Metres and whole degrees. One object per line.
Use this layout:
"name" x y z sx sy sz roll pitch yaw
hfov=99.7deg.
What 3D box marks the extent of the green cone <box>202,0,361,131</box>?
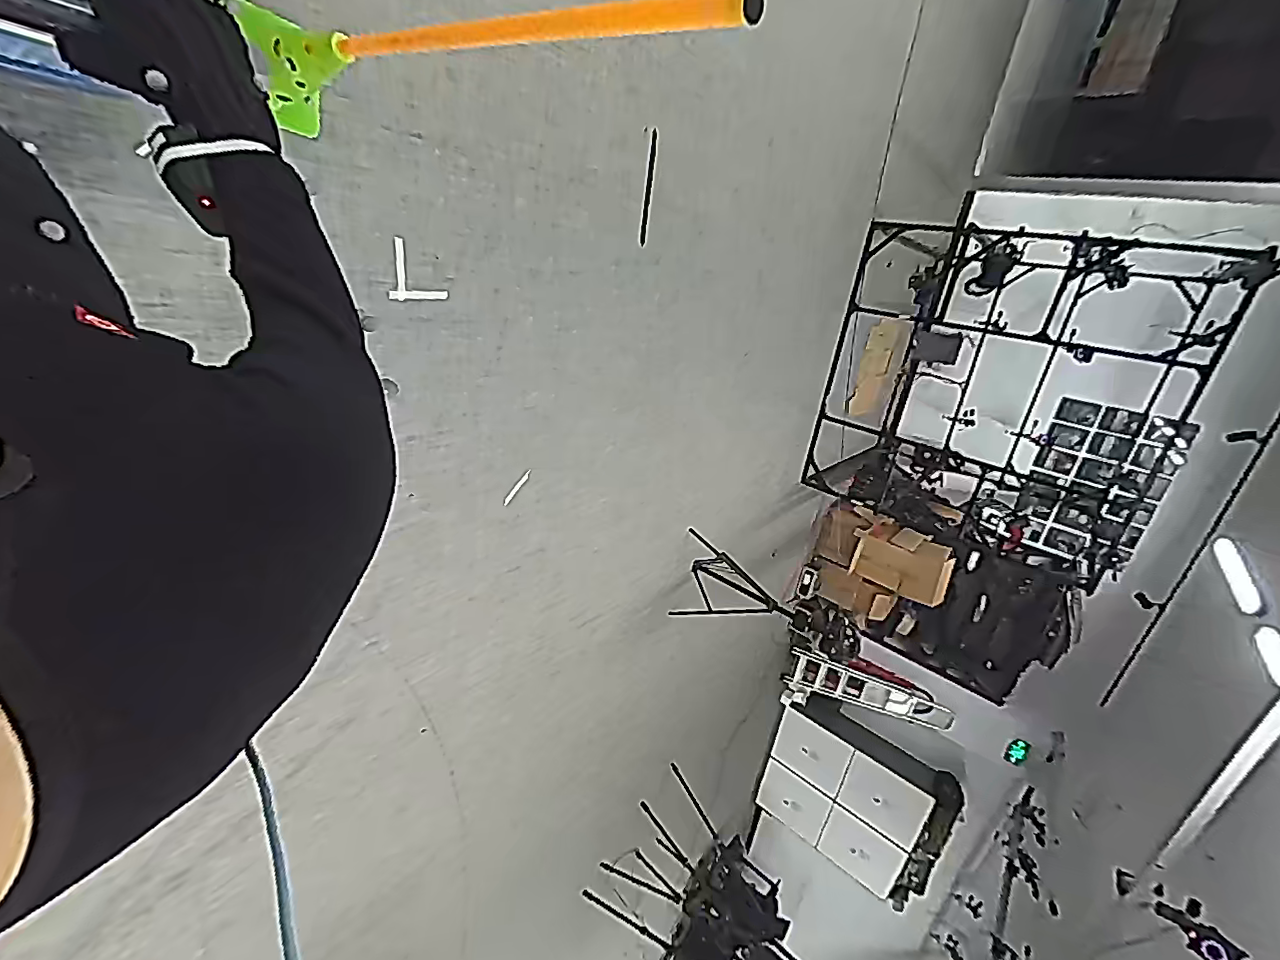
"green cone" -0.633 -0.795 1.009 0.202 0.368 0.200 -14 121 -51
